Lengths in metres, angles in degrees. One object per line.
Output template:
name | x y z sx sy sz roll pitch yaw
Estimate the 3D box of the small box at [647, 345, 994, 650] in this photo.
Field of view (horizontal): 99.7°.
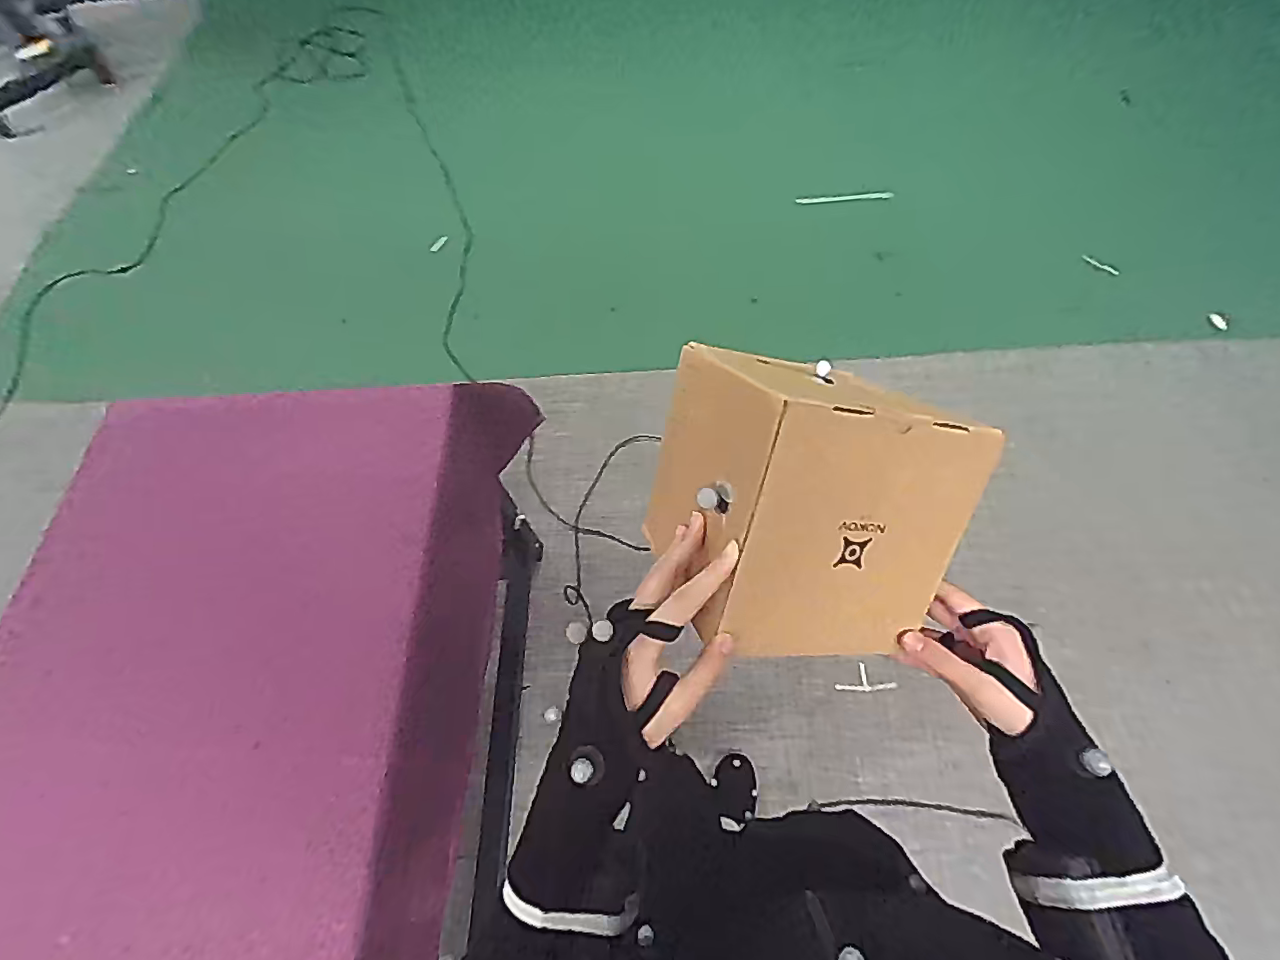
small box | 0.112 0.007 0.418 0.168 0.179 0.176 5 21 -17
